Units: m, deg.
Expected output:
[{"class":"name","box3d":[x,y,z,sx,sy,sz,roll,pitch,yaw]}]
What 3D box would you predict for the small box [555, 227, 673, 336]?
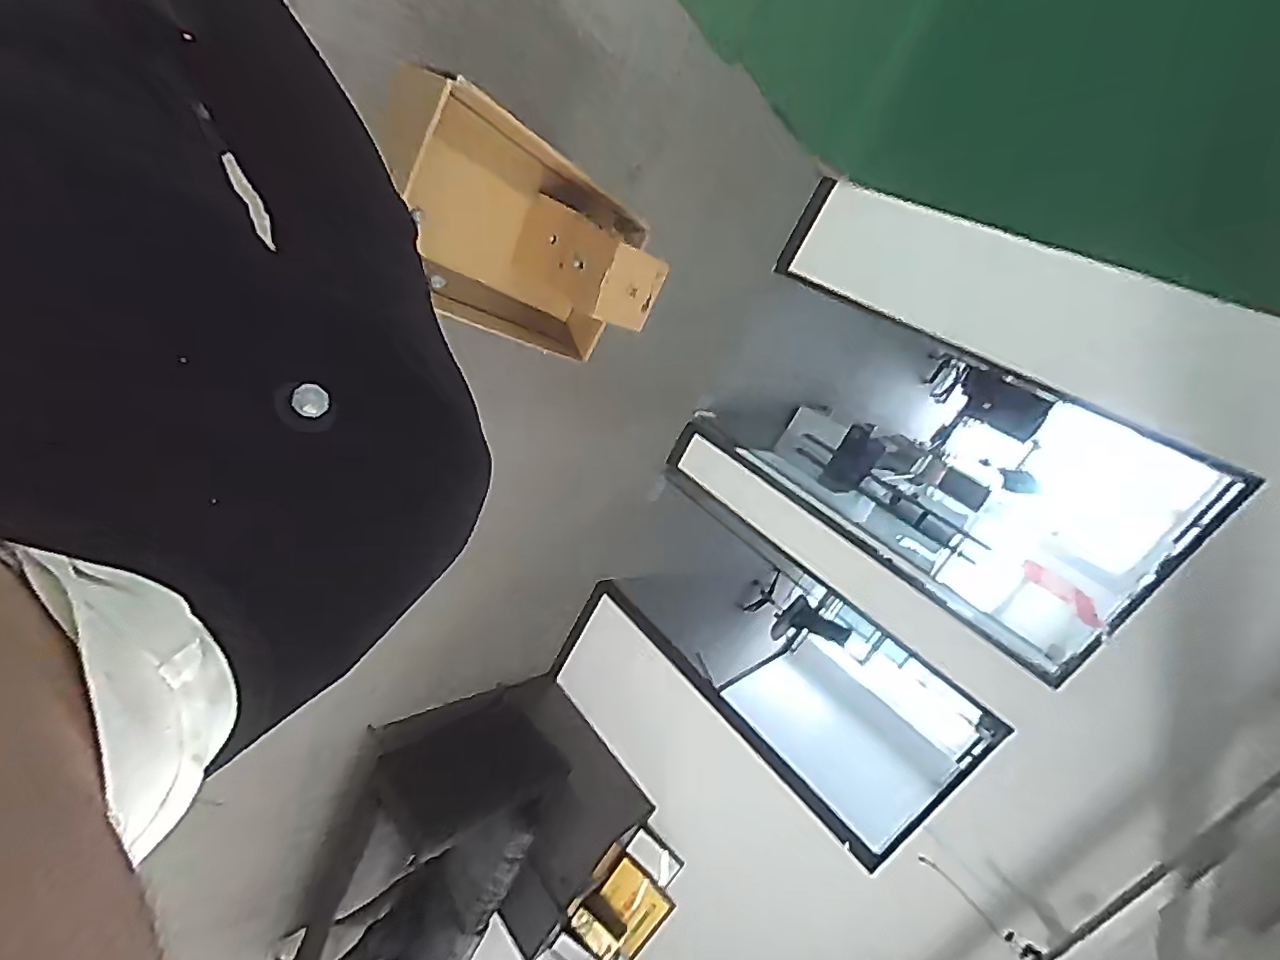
[{"class":"small box","box3d":[-0.064,-0.455,1.235,0.179,0.176,0.168,0,124,-50]}]
